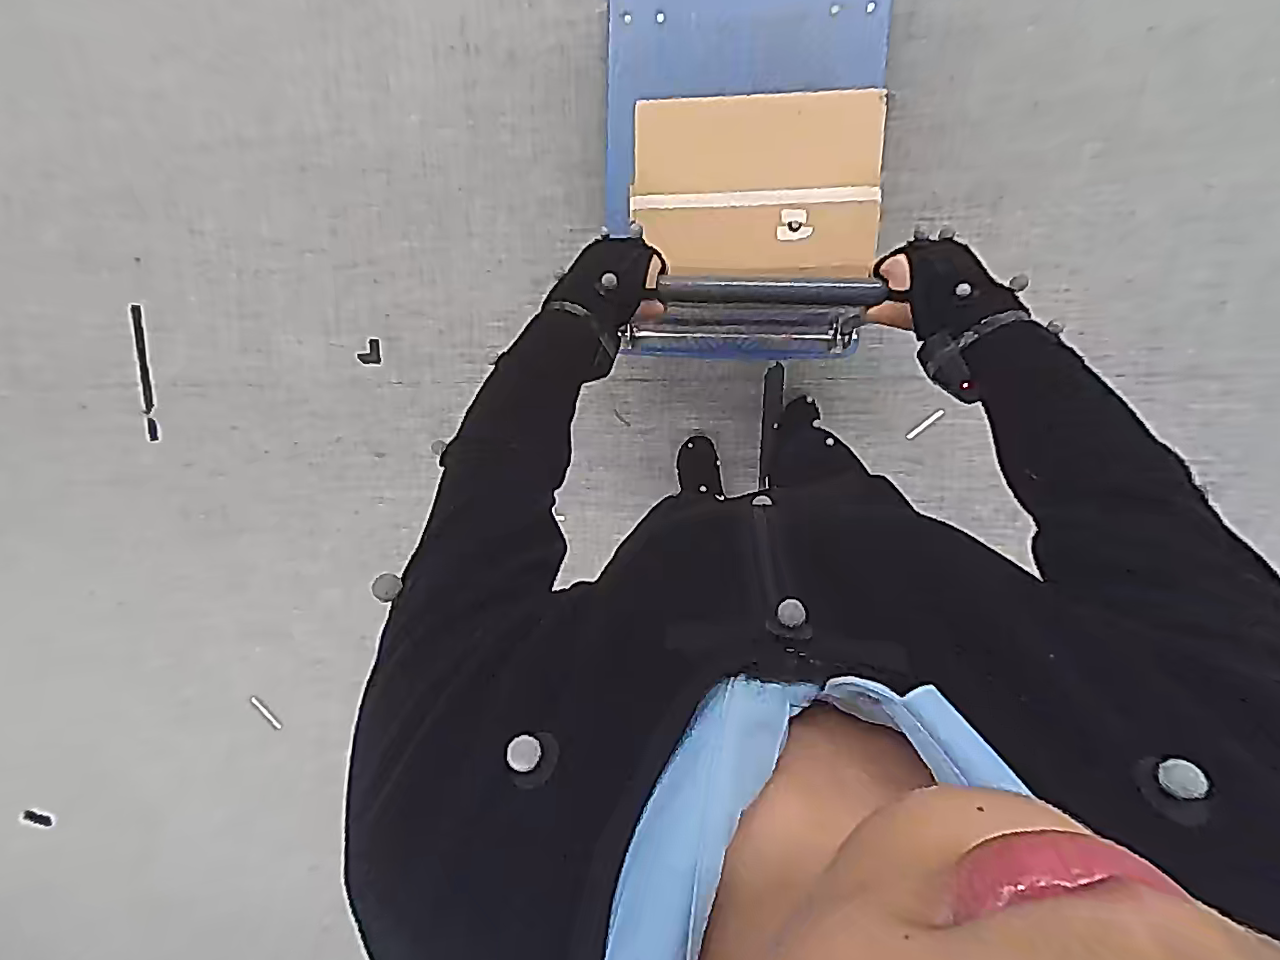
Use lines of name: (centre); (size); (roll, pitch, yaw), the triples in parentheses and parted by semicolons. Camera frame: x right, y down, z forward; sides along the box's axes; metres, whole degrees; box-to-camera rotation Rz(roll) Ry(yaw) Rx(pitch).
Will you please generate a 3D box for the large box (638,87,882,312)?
large box: (0.209, -0.512, 1.063); (0.408, 0.320, 0.320); (1, 102, 5)
